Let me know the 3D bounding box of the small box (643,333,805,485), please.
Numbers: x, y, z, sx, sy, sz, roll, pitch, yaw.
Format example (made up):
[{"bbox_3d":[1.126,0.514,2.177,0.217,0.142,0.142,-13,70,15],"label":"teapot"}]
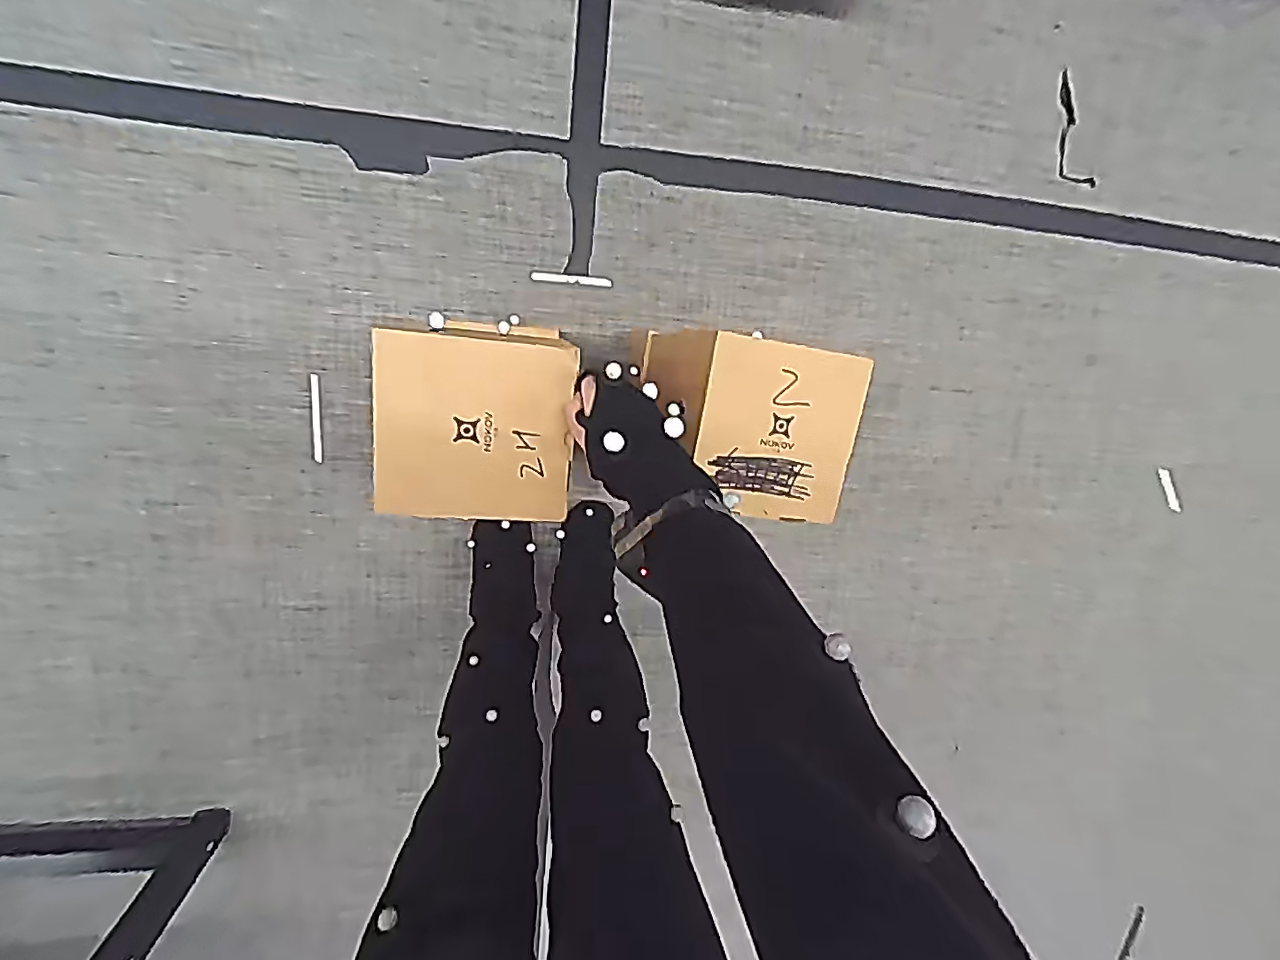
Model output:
[{"bbox_3d":[0.105,-0.105,0.763,0.168,0.176,0.179,6,103,-12],"label":"small box"}]

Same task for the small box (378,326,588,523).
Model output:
[{"bbox_3d":[-0.154,-0.063,0.557,0.179,0.176,0.168,3,105,-13],"label":"small box"}]

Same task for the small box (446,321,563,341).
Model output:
[{"bbox_3d":[-0.213,-0.156,0.866,0.168,0.176,0.179,1,104,-12],"label":"small box"}]

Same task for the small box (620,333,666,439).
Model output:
[{"bbox_3d":[0.075,-0.154,0.918,0.179,0.176,0.168,7,104,-13],"label":"small box"}]
